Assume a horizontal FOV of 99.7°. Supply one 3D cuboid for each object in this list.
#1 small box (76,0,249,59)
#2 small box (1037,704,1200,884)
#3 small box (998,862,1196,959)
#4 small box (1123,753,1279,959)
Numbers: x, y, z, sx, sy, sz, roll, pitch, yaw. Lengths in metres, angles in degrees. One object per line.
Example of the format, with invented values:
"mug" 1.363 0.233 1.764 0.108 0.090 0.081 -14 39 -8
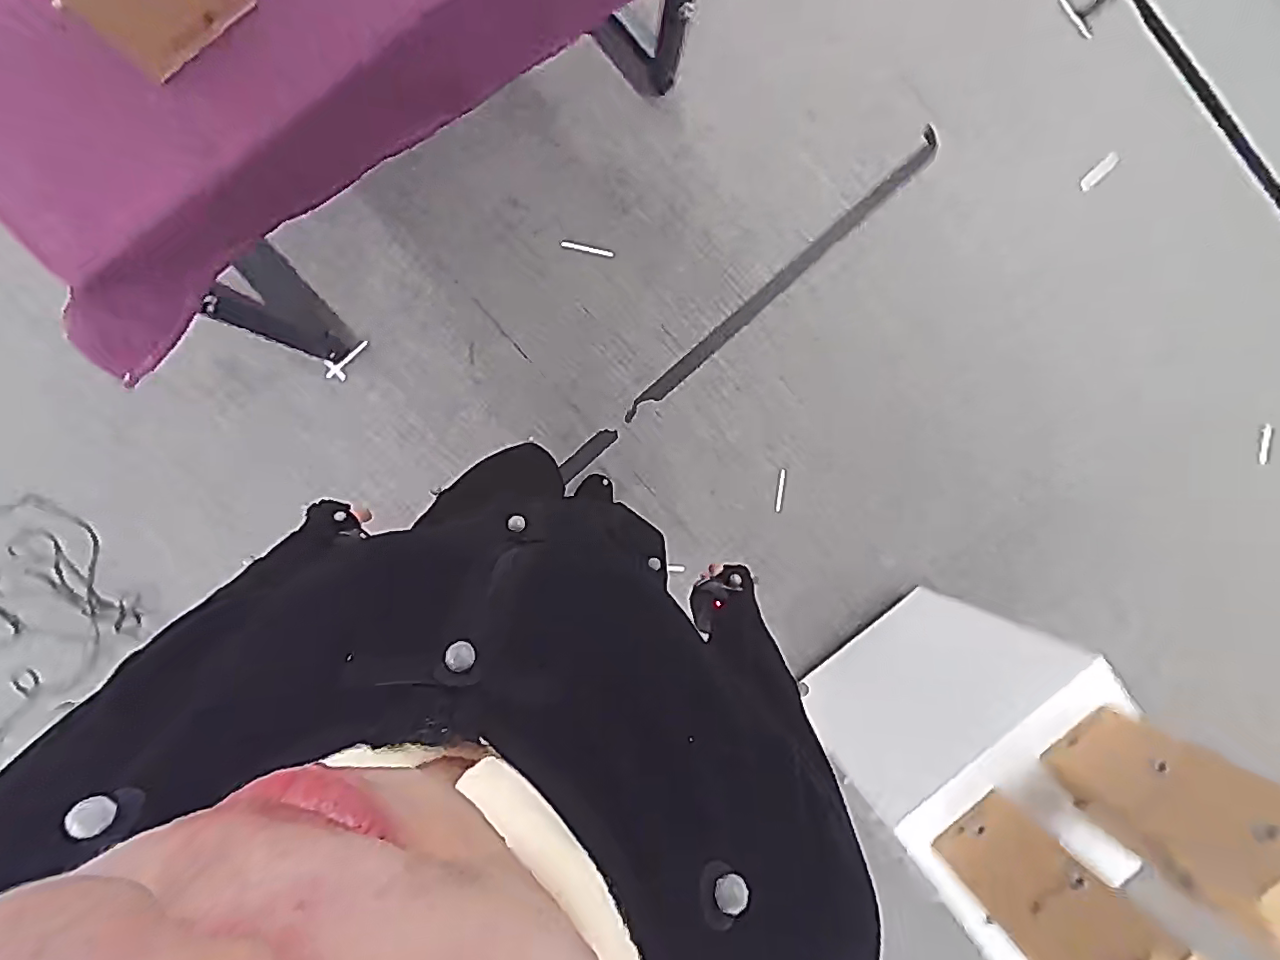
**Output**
"small box" -0.597 -0.627 0.604 0.168 0.176 0.179 -42 96 -3
"small box" 0.864 0.538 0.952 0.168 0.176 0.179 -36 97 -3
"small box" 0.670 0.699 0.774 0.168 0.176 0.179 -38 97 -3
"small box" 0.879 0.544 0.787 0.179 0.176 0.168 -36 95 -3
